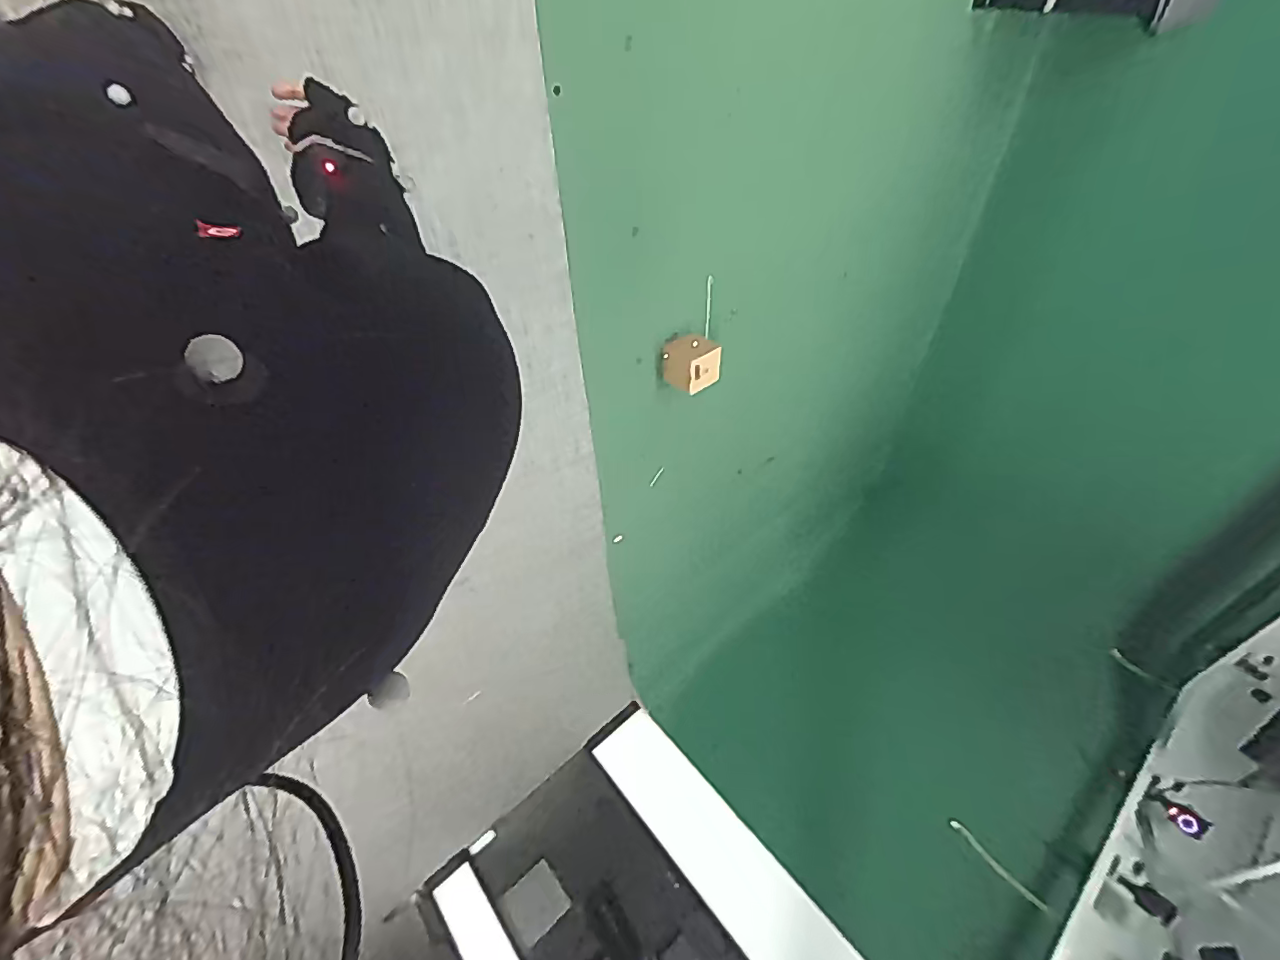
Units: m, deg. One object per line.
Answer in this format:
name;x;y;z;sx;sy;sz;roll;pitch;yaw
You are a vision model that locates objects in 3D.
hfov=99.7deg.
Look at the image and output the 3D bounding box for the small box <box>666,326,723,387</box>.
small box;0.222;-0.517;2.245;0.179;0.176;0.168;-32;142;-27
